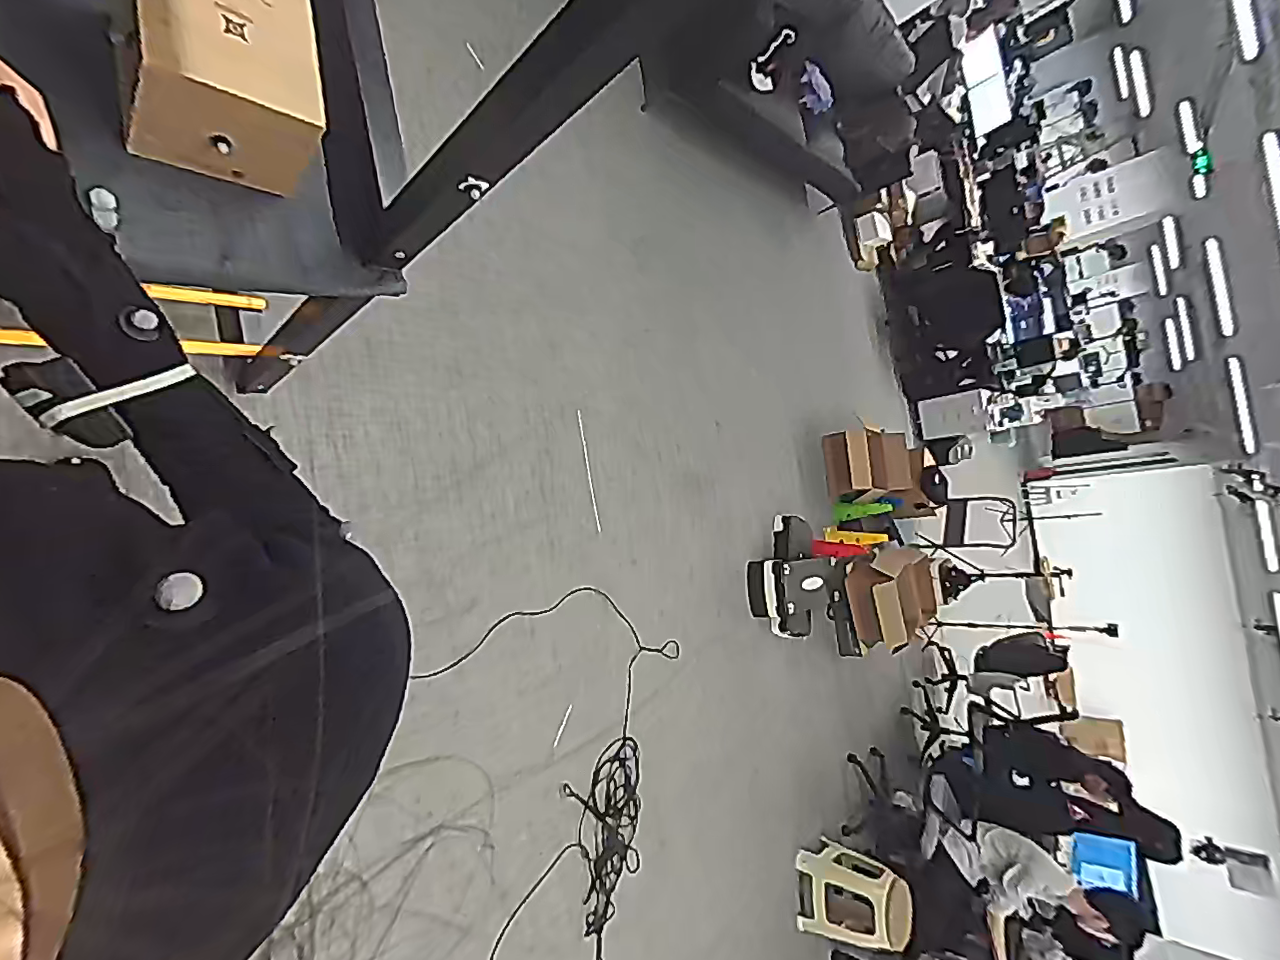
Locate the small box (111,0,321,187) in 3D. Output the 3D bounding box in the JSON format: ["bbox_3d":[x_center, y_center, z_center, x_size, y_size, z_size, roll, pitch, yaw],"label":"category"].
[{"bbox_3d":[-0.503,-0.488,0.641,0.168,0.176,0.179,-5,85,-49],"label":"small box"}]
